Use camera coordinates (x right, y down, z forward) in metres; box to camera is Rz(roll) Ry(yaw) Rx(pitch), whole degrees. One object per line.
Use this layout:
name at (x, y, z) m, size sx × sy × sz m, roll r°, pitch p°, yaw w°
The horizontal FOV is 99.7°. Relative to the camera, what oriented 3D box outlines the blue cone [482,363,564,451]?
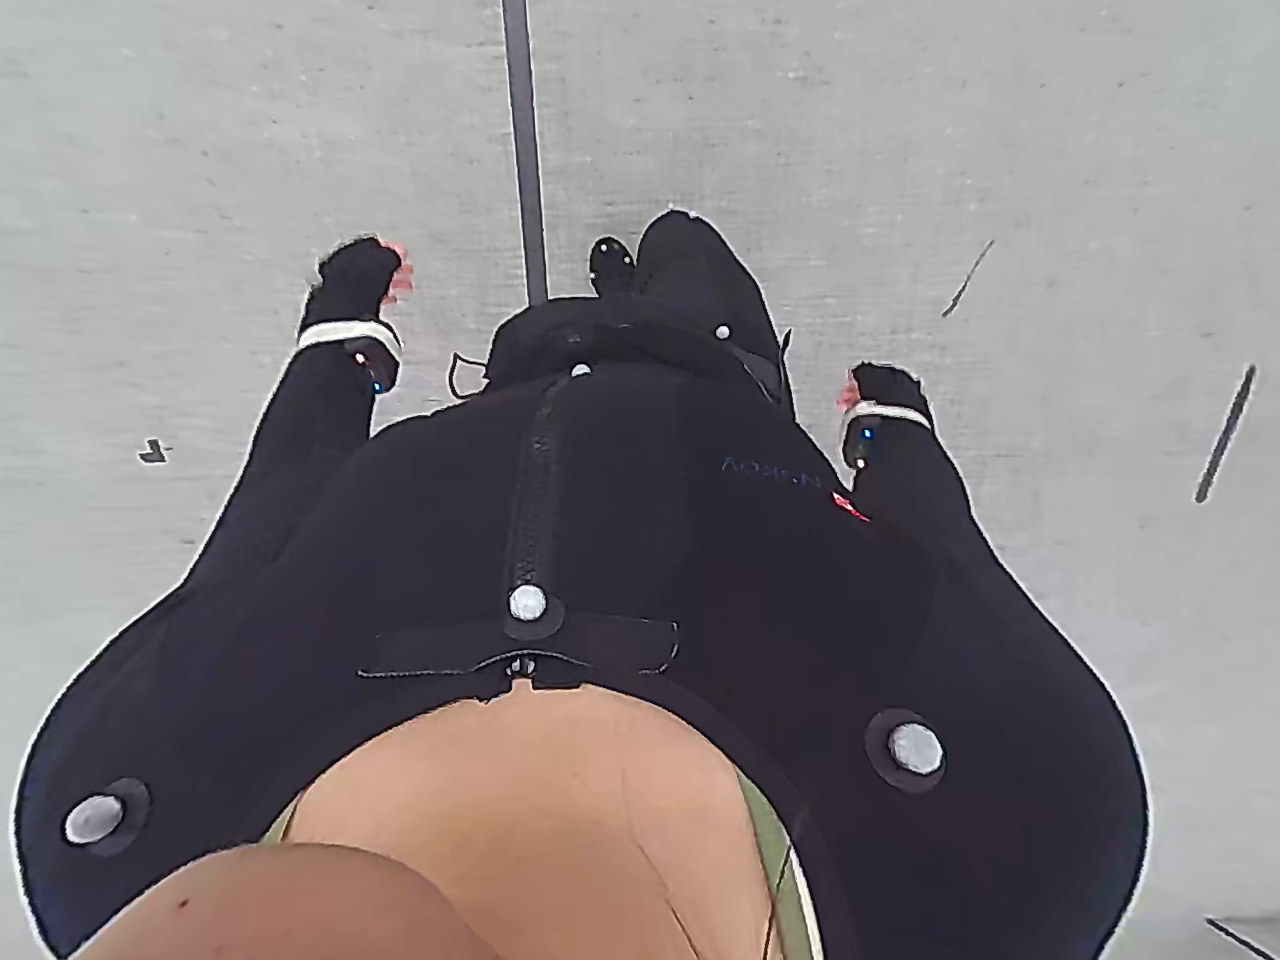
blue cone at (-0.300, -0.142, 1.269) m, size 0.193 × 0.380 × 0.192 m, roll -1°, pitch 115°, yaw 2°
